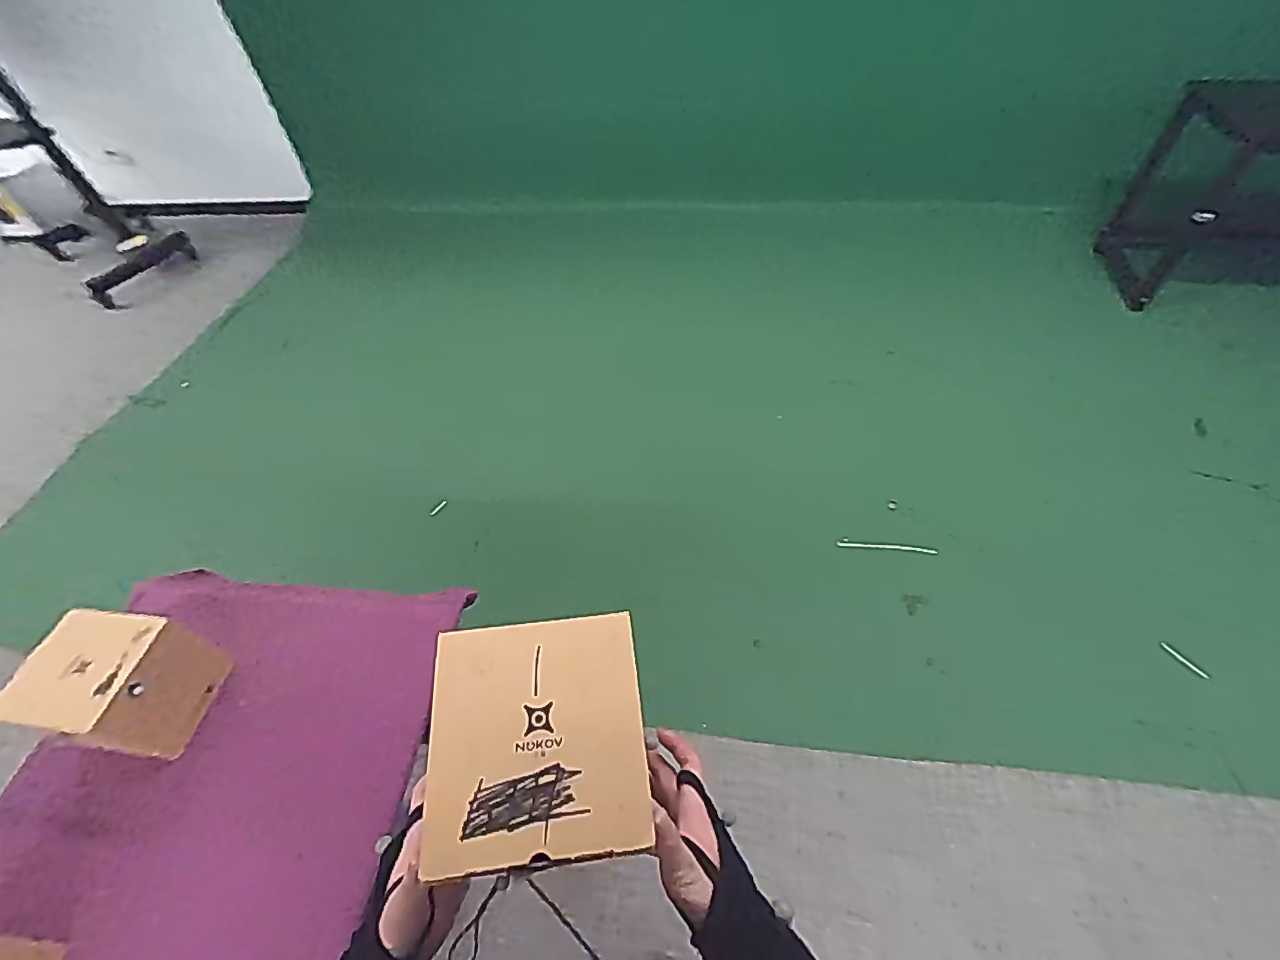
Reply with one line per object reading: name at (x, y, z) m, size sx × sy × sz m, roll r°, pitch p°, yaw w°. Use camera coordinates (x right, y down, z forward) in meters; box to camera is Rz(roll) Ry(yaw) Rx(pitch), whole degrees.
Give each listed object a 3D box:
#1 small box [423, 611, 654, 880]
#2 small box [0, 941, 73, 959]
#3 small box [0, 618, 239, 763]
small box at (-0.077, 0.237, 0.485) m, size 0.168 × 0.176 × 0.179 m, roll -5°, pitch 56°, yaw -4°
small box at (-0.838, 0.638, 0.611) m, size 0.179 × 0.176 × 0.168 m, roll 1°, pitch 52°, yaw 6°
small box at (-0.799, 0.333, 0.850) m, size 0.179 × 0.176 × 0.168 m, roll 2°, pitch 53°, yaw 8°
